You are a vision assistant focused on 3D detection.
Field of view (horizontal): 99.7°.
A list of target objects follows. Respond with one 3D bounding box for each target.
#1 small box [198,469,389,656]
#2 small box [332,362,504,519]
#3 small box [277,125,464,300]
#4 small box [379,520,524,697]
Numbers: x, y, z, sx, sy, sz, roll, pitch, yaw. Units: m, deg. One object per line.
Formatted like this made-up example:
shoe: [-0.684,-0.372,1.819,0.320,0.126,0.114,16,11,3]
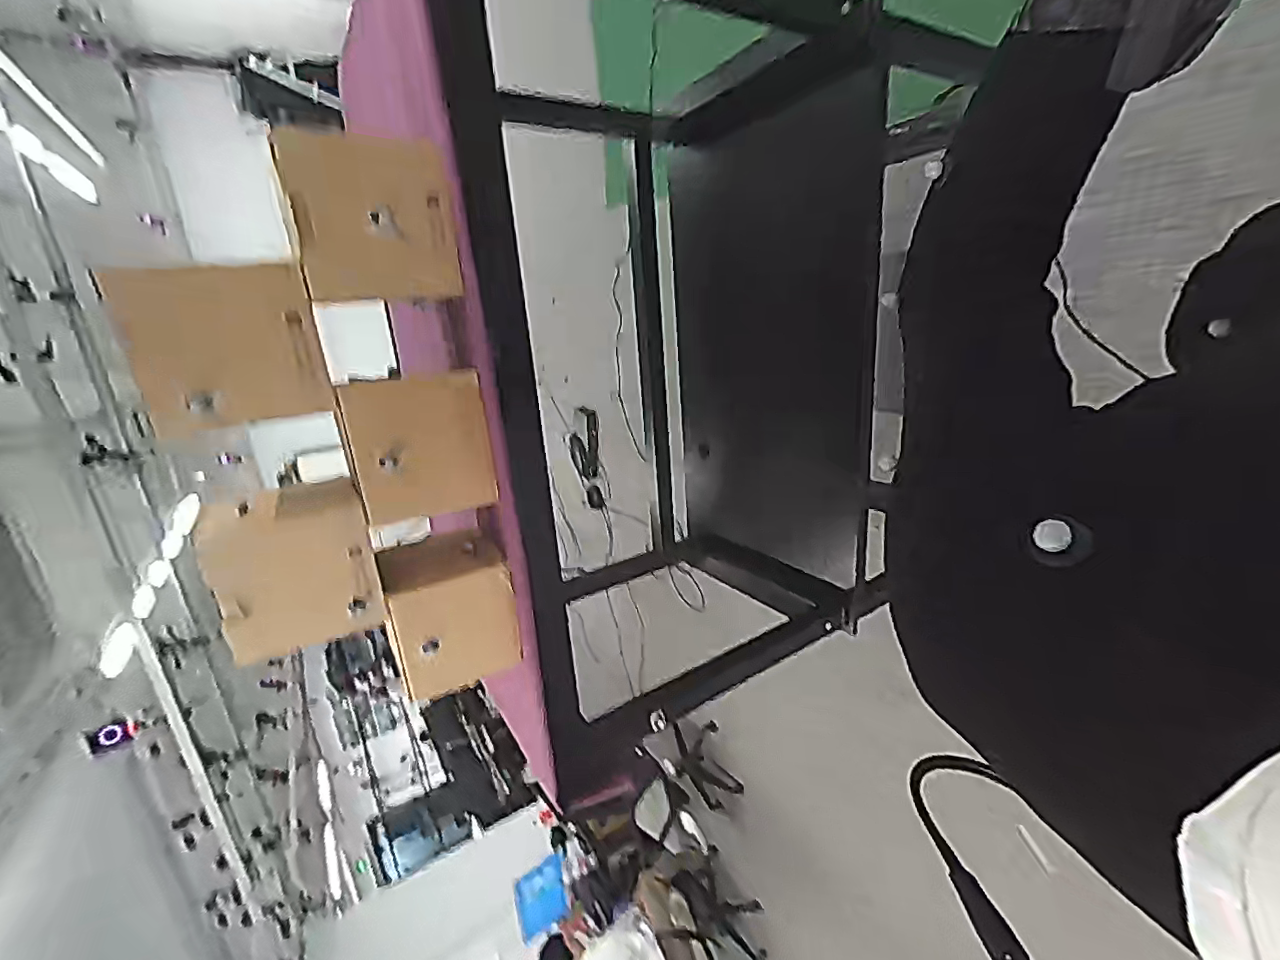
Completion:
small box: [-0.437,0.091,0.707,0.179,0.176,0.168,22,121,56]
small box: [-0.302,-0.066,0.740,0.168,0.176,0.179,18,119,56]
small box: [-0.326,-0.315,0.667,0.179,0.176,0.168,23,121,53]
small box: [-0.283,0.180,0.813,0.168,0.176,0.179,27,124,53]
